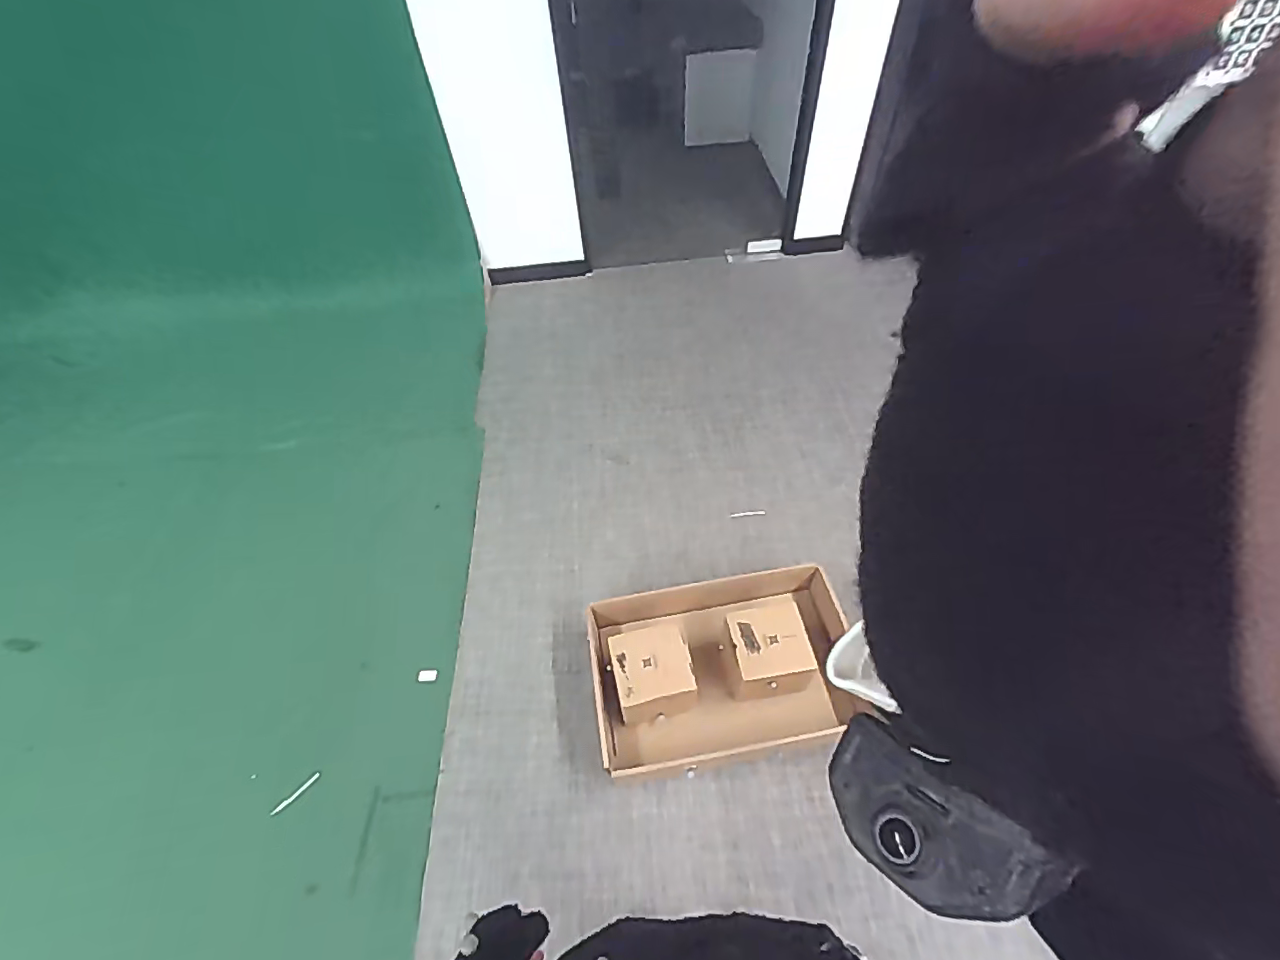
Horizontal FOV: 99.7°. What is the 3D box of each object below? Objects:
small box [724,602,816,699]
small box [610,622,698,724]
[{"bbox_3d":[0.306,0.419,1.318,0.179,0.176,0.168,-9,53,-2],"label":"small box"},{"bbox_3d":[0.030,0.466,1.300,0.179,0.176,0.168,-11,52,-7],"label":"small box"}]
